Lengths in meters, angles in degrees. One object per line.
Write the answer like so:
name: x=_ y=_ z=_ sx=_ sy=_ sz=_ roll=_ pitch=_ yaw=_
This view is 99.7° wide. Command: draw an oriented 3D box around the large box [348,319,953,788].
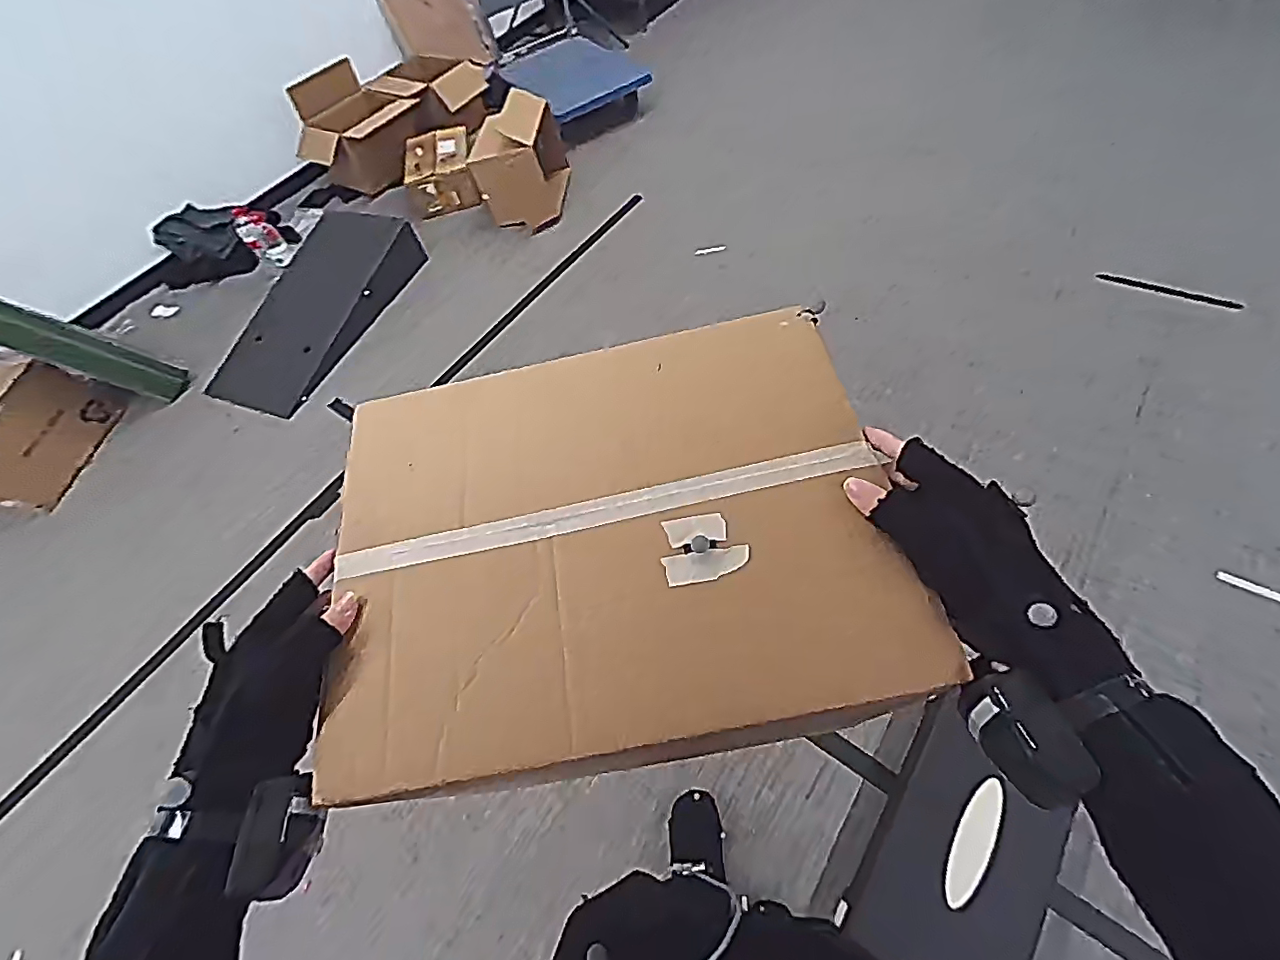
large box: x=-0.003 y=0.097 z=0.544 sx=0.408 sy=0.320 sz=0.320 roll=-12 pitch=61 yaw=2
